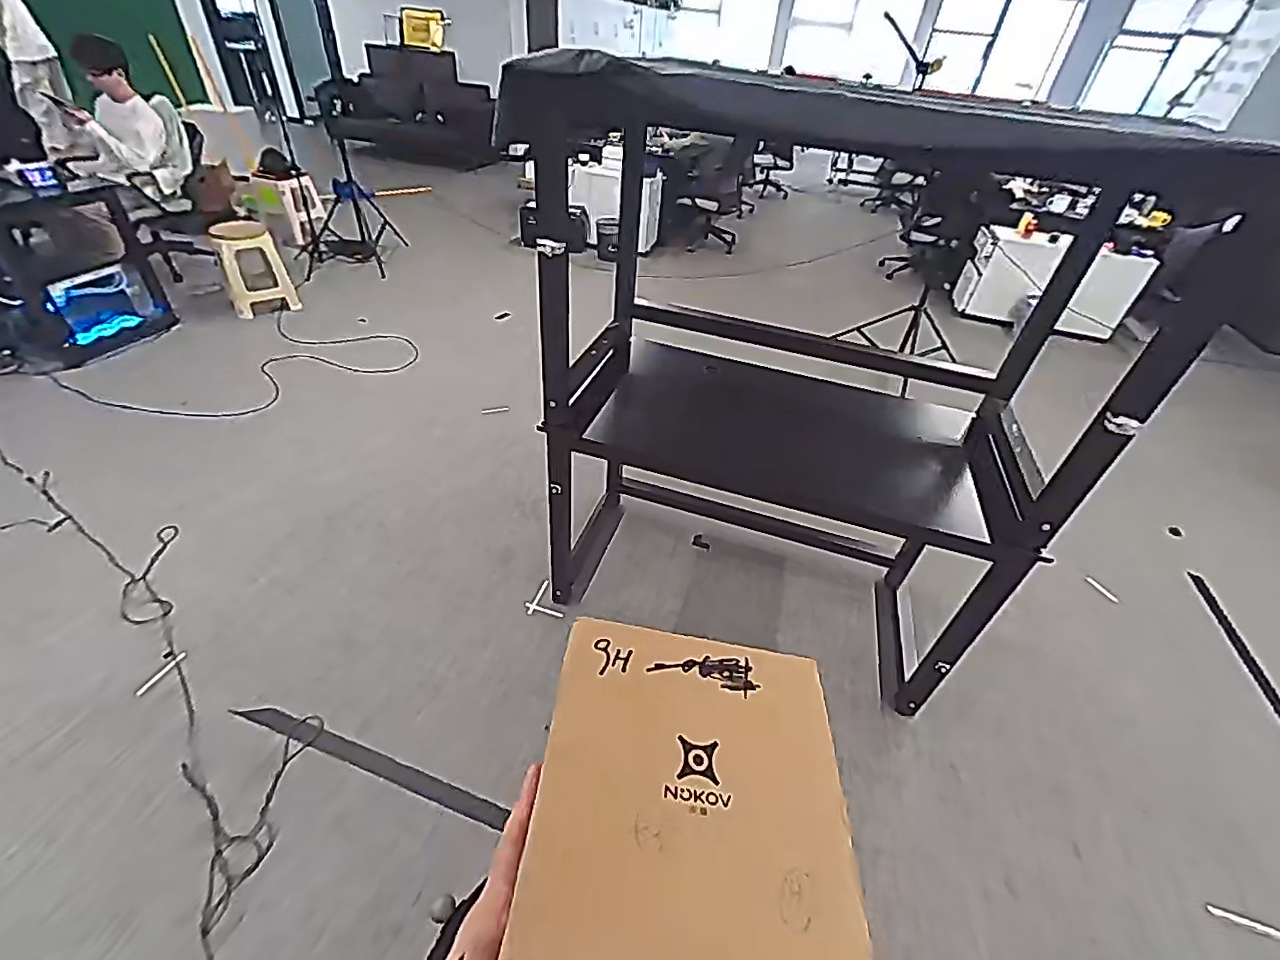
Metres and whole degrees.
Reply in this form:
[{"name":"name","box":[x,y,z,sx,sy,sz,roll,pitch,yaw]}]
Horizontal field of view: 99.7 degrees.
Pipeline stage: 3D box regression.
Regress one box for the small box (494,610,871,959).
[{"name":"small box","box":[0.015,0.213,0.336,0.168,0.176,0.179,12,41,-3]}]
